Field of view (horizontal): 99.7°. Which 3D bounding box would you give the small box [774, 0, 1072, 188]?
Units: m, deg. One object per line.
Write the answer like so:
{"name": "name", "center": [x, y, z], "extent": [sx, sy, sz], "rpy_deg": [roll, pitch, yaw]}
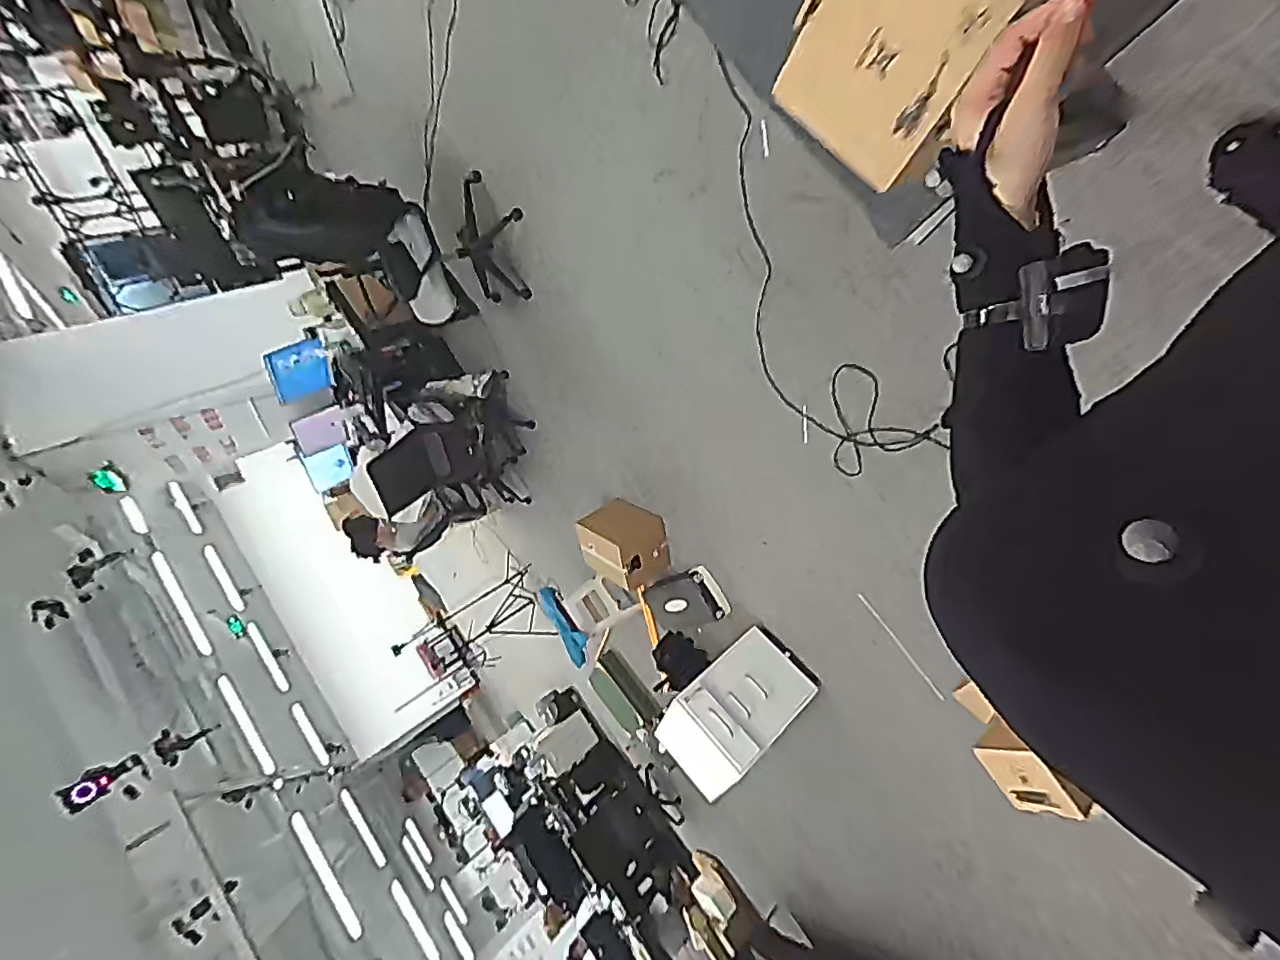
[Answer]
{"name": "small box", "center": [0.281, -0.436, 0.554], "extent": [0.179, 0.176, 0.168], "rpy_deg": [51, 147, 13]}
